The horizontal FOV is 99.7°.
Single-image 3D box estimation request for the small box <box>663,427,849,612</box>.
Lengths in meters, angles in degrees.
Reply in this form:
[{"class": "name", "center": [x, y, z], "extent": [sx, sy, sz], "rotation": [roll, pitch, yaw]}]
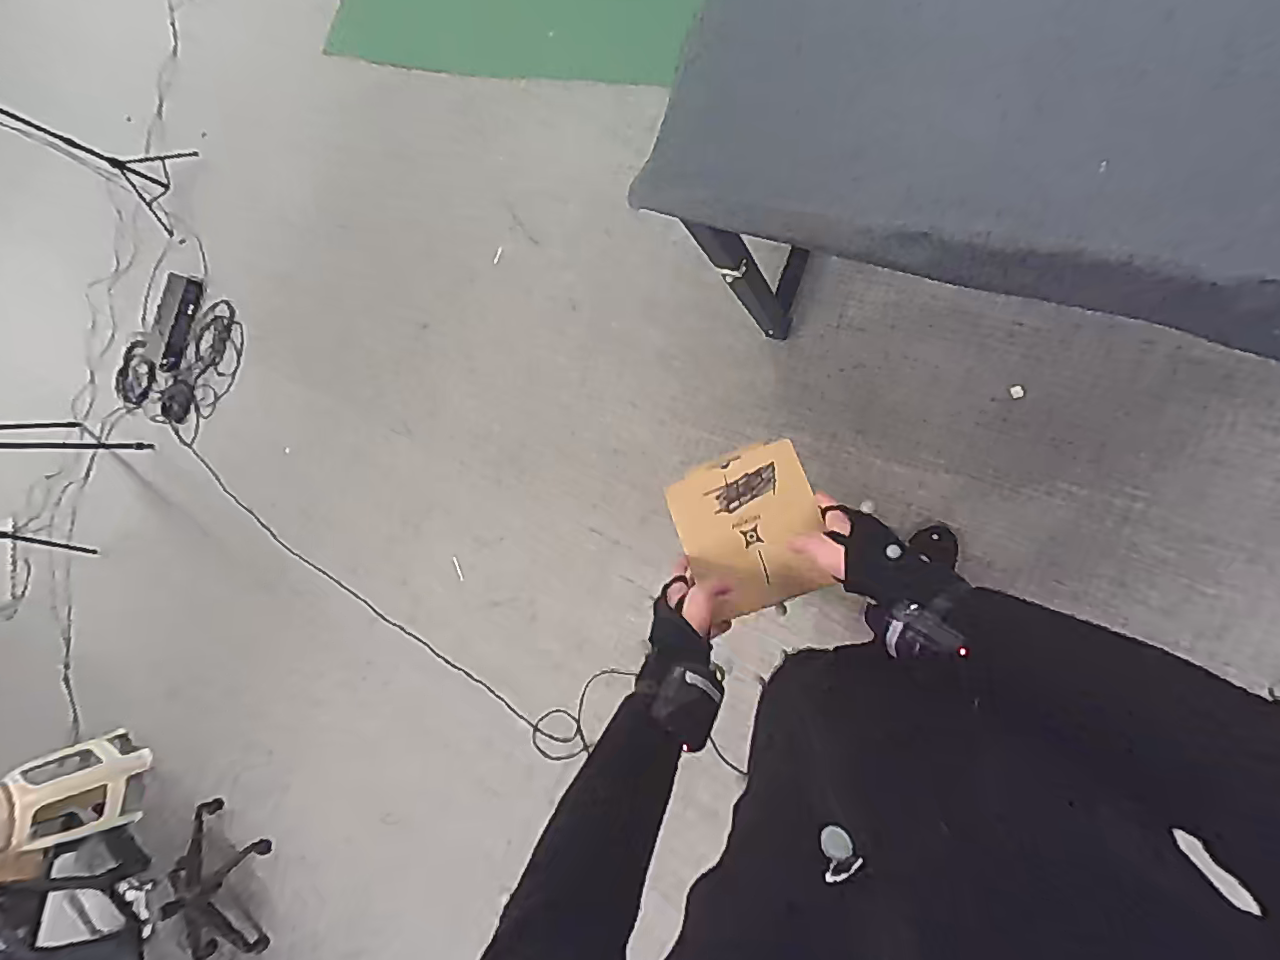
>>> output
[{"class": "small box", "center": [0.147, 0.060, 0.693], "extent": [0.168, 0.176, 0.179], "rotation": [-23, 74, 12]}]
